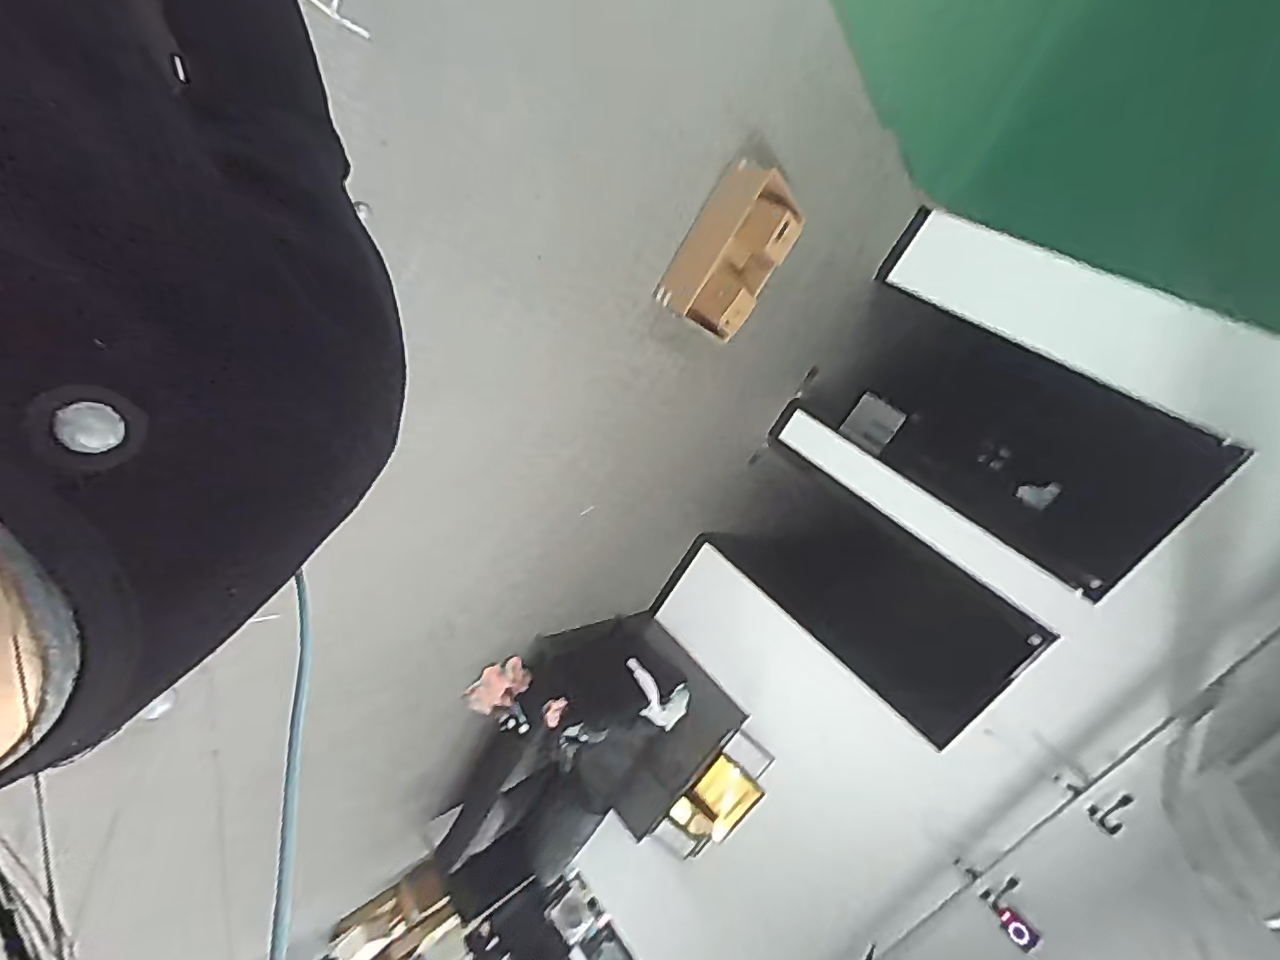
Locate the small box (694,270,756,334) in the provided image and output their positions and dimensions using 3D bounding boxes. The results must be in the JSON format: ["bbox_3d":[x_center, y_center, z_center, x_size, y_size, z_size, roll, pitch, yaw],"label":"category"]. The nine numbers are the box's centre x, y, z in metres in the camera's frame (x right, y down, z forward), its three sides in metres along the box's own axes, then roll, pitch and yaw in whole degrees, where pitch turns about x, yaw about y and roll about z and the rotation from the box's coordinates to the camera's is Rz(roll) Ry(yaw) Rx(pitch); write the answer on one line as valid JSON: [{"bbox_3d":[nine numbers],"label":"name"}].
[{"bbox_3d":[0.363,-0.771,2.327,0.179,0.176,0.168,-54,149,9],"label":"small box"}]
